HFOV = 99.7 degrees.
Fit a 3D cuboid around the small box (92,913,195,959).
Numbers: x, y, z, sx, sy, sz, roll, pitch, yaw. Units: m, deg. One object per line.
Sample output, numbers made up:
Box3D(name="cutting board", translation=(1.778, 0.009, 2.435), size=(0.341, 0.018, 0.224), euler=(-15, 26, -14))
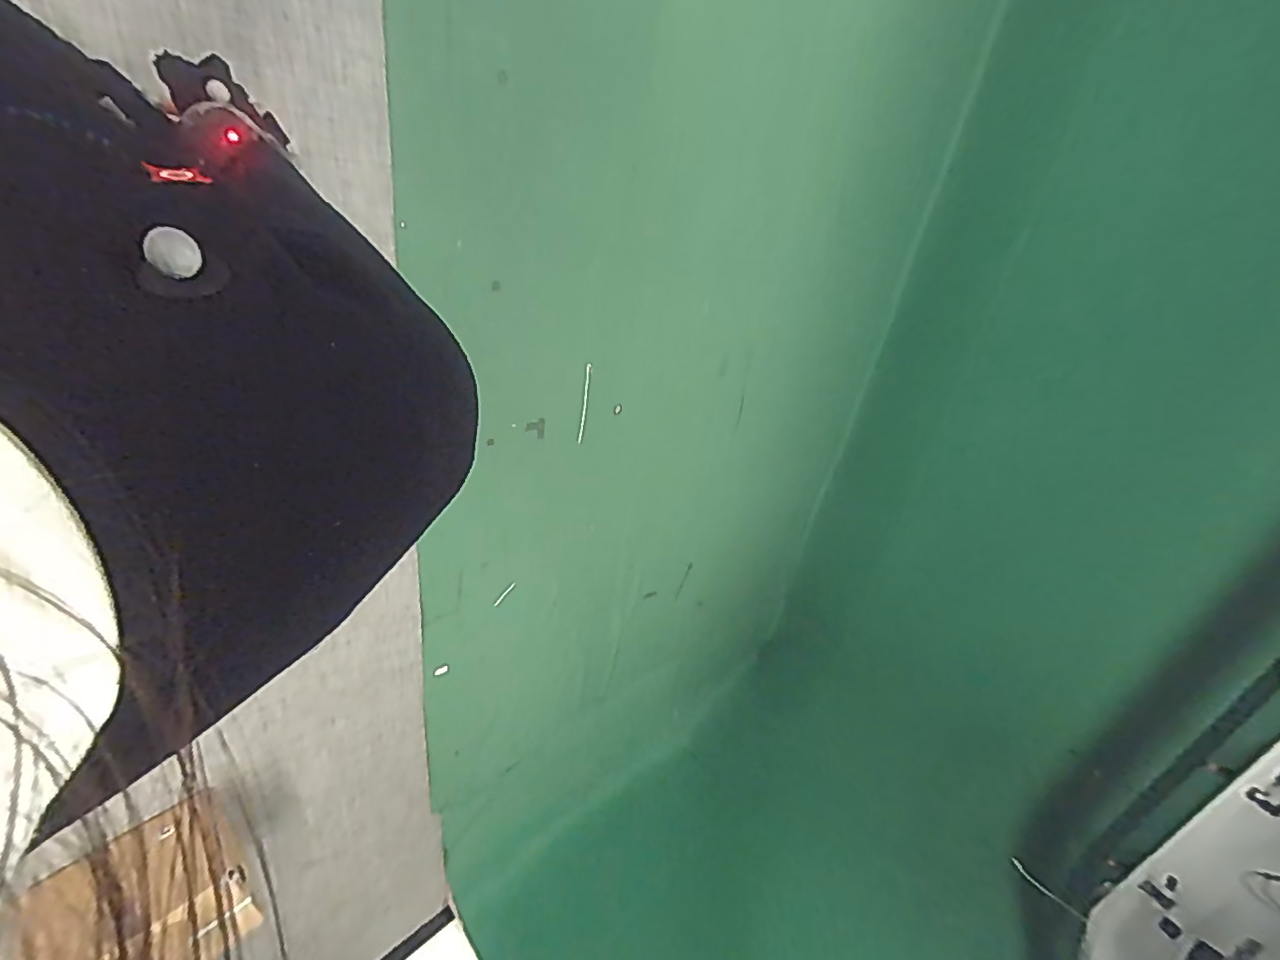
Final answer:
Box3D(name="small box", translation=(-1.233, 1.240, 1.344), size=(0.179, 0.176, 0.168), euler=(-21, 130, -38))
